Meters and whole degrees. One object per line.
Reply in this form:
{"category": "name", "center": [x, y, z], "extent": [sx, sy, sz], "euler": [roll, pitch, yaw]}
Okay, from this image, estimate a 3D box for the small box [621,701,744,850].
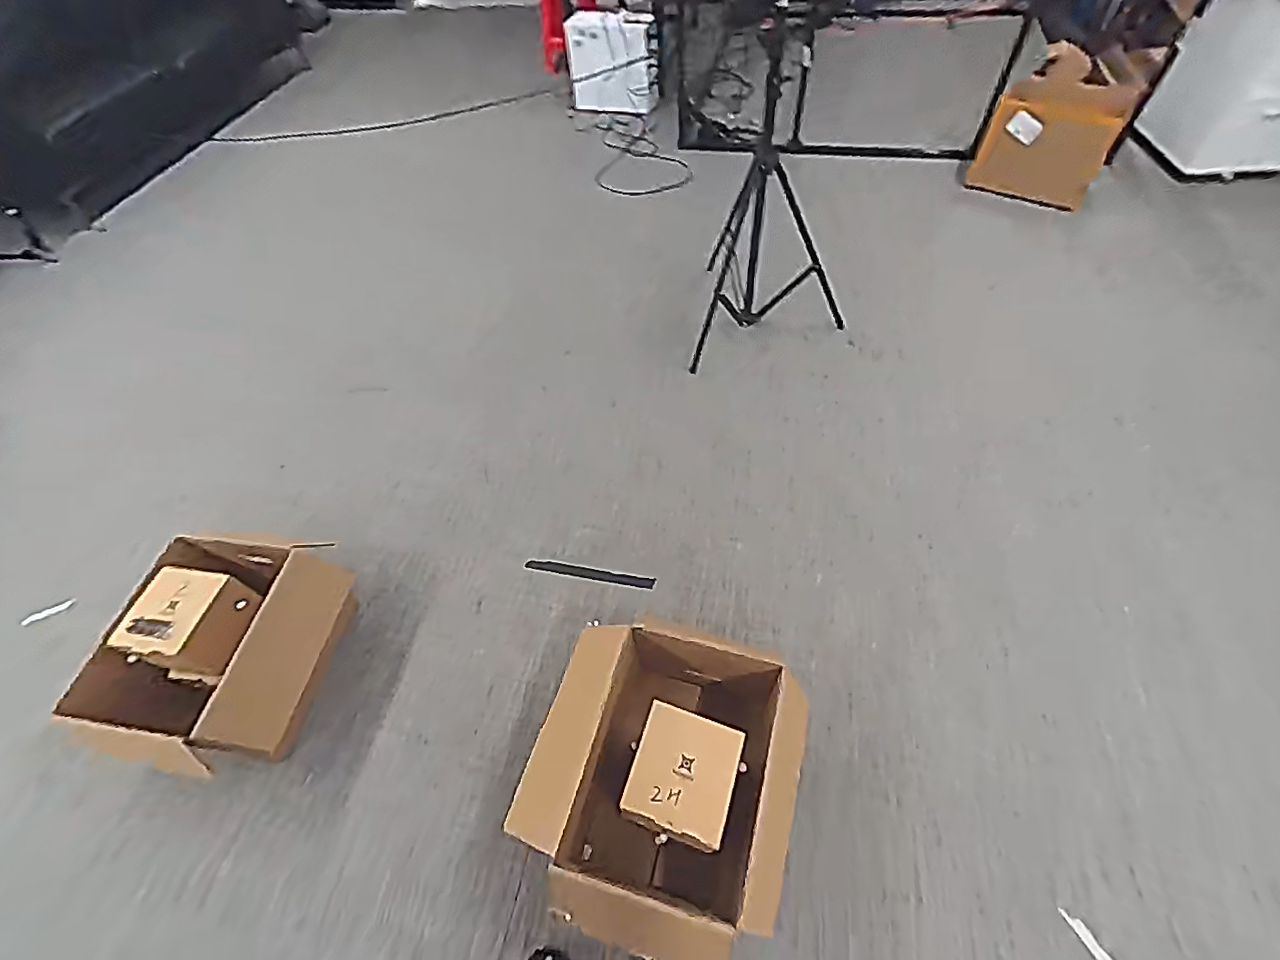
{"category": "small box", "center": [0.072, 0.523, 0.954], "extent": [0.168, 0.176, 0.179], "euler": [16, 56, 12]}
